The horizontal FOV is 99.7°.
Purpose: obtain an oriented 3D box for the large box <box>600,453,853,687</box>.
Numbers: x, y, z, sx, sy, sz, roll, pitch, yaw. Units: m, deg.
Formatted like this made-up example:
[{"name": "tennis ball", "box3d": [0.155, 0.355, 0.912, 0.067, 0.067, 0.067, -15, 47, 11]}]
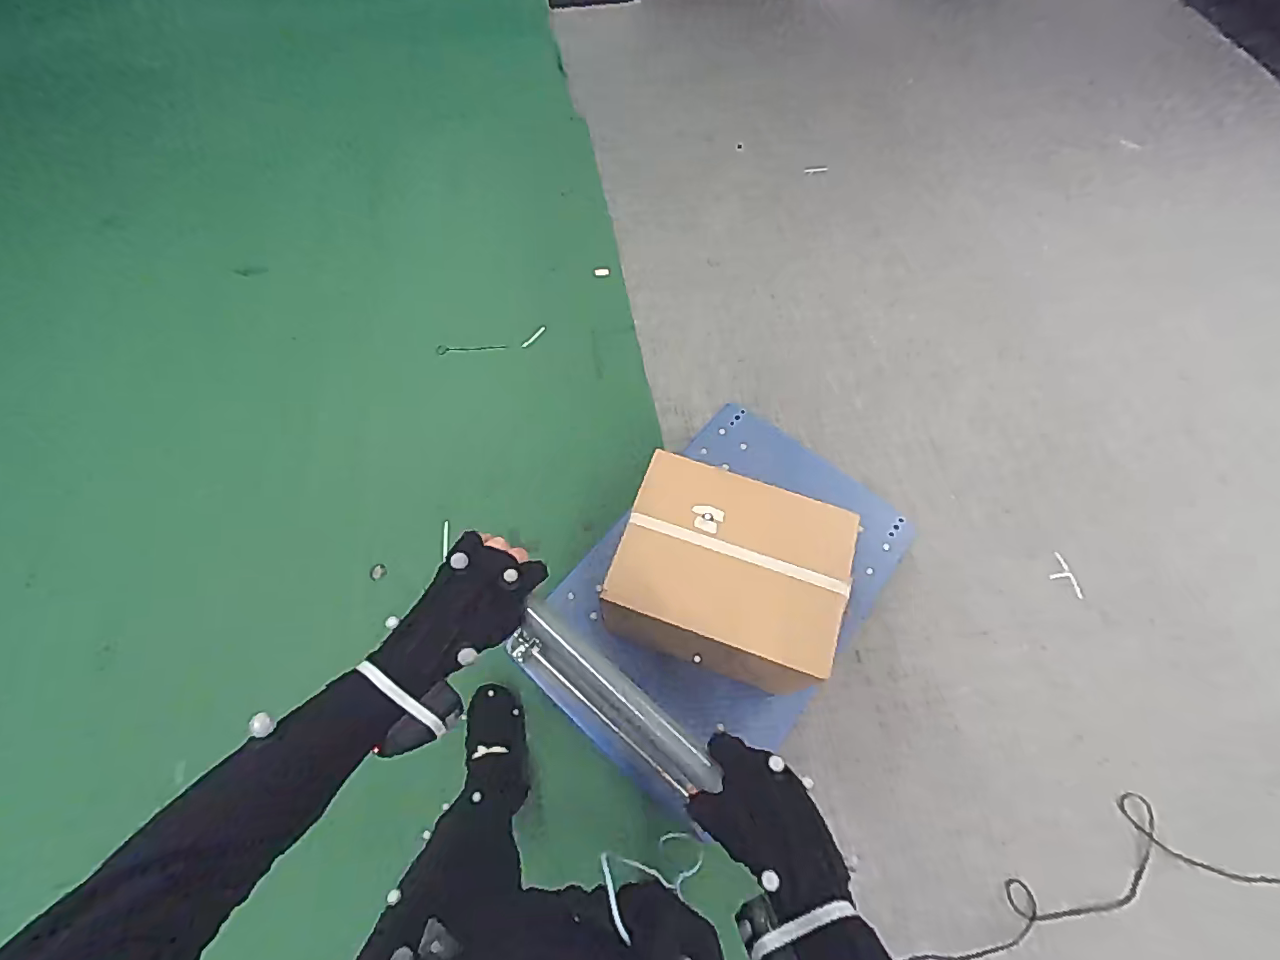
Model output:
[{"name": "large box", "box3d": [0.166, 0.197, 1.110, 0.408, 0.320, 0.320, 18, 64, 8]}]
